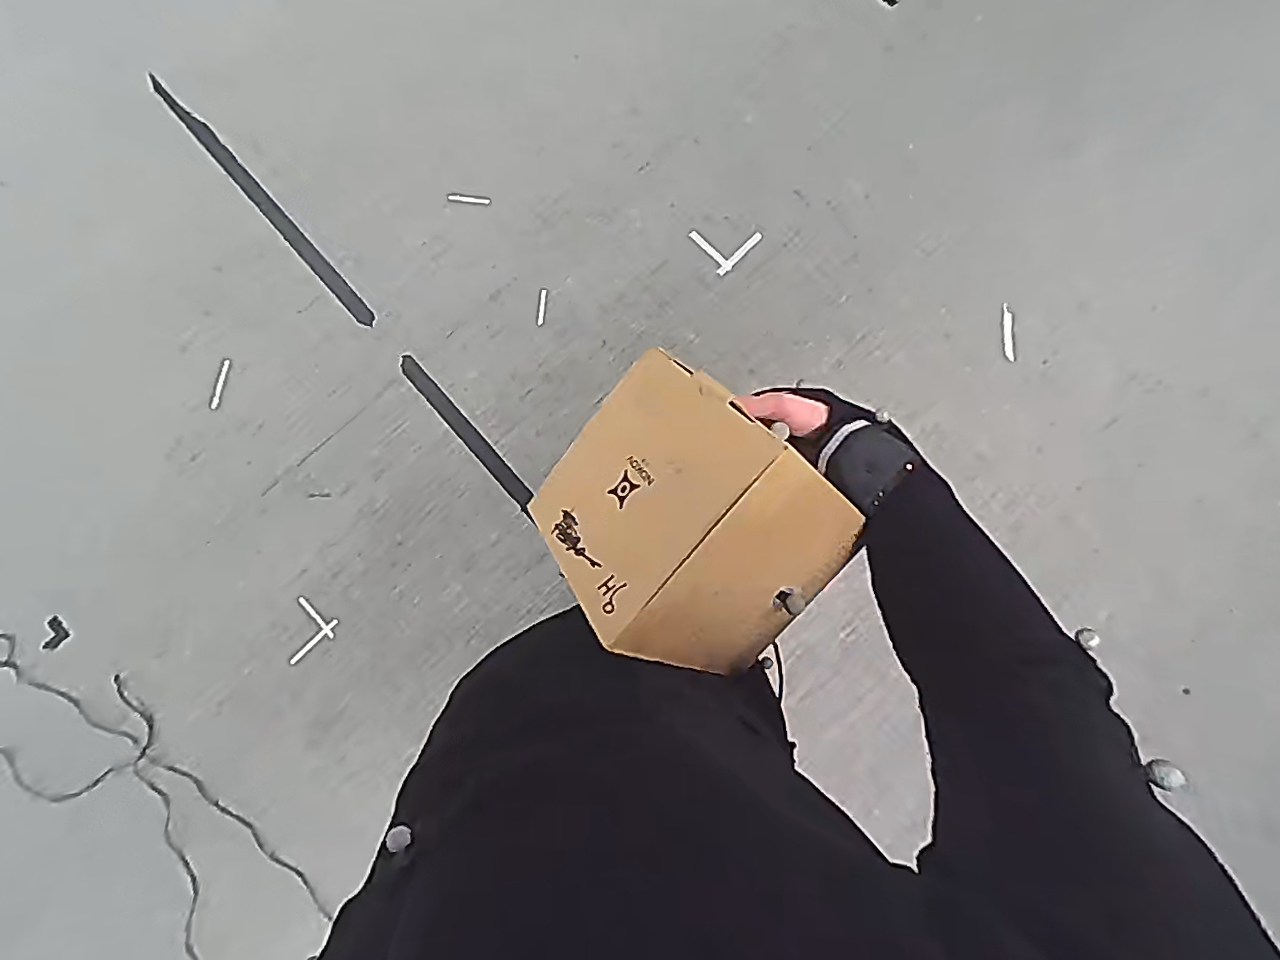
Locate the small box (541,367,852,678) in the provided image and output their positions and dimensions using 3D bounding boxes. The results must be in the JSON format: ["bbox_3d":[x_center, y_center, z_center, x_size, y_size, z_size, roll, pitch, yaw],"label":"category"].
[{"bbox_3d":[0.053,0.042,0.463,0.179,0.176,0.168,-50,44,9],"label":"small box"}]
